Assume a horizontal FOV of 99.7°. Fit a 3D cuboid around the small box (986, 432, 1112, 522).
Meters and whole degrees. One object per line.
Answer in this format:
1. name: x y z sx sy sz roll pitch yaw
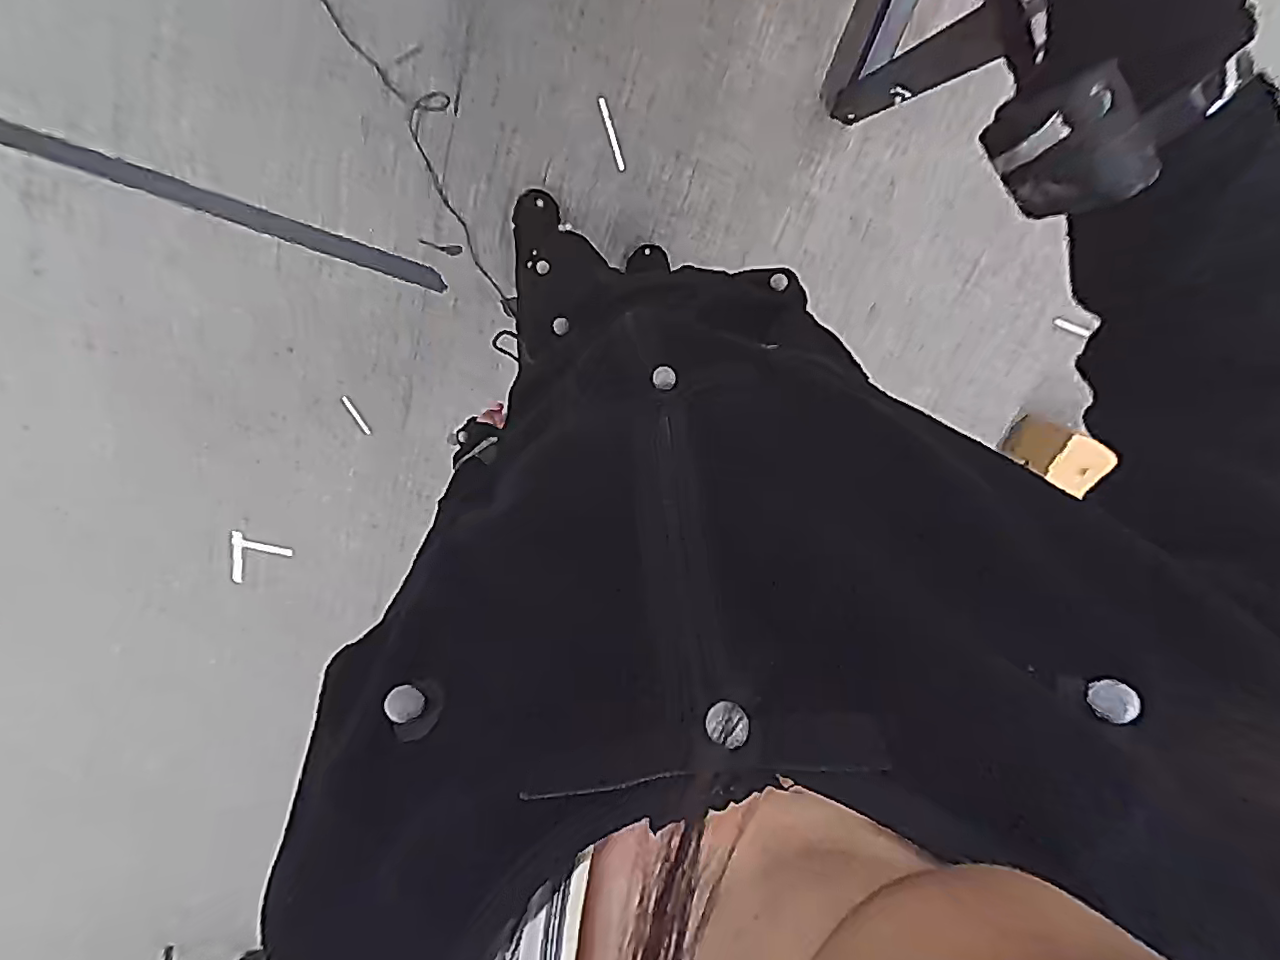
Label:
1. small box: 1.099 -0.014 1.471 0.179 0.176 0.168 17 113 -12
